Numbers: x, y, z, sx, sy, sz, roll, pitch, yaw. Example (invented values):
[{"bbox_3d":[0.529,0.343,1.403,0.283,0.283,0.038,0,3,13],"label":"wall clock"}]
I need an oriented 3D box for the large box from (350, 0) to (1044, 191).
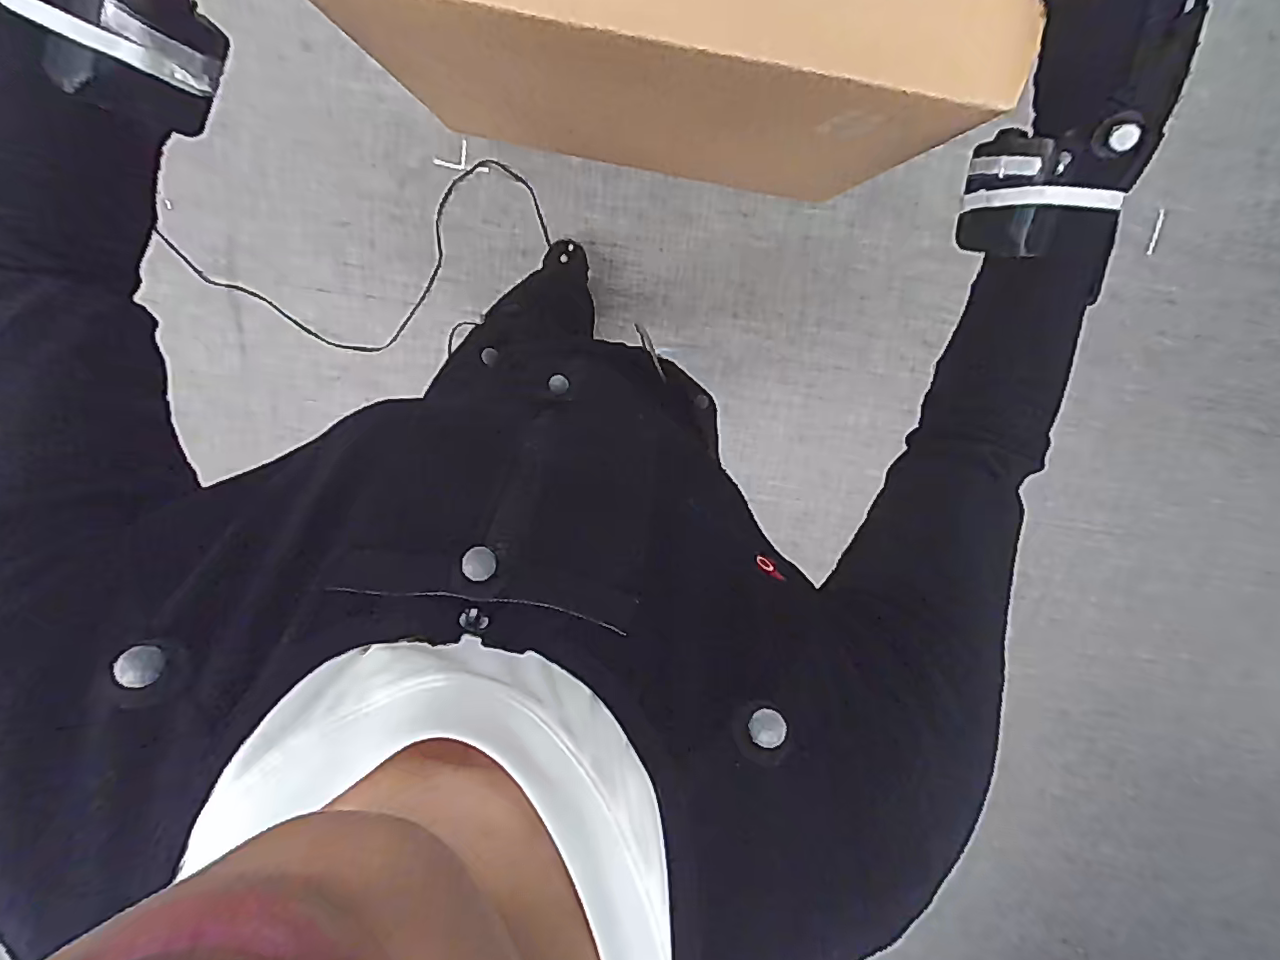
[{"bbox_3d":[0.035,-0.434,0.389,0.408,0.320,0.320,8,109,-5],"label":"large box"}]
